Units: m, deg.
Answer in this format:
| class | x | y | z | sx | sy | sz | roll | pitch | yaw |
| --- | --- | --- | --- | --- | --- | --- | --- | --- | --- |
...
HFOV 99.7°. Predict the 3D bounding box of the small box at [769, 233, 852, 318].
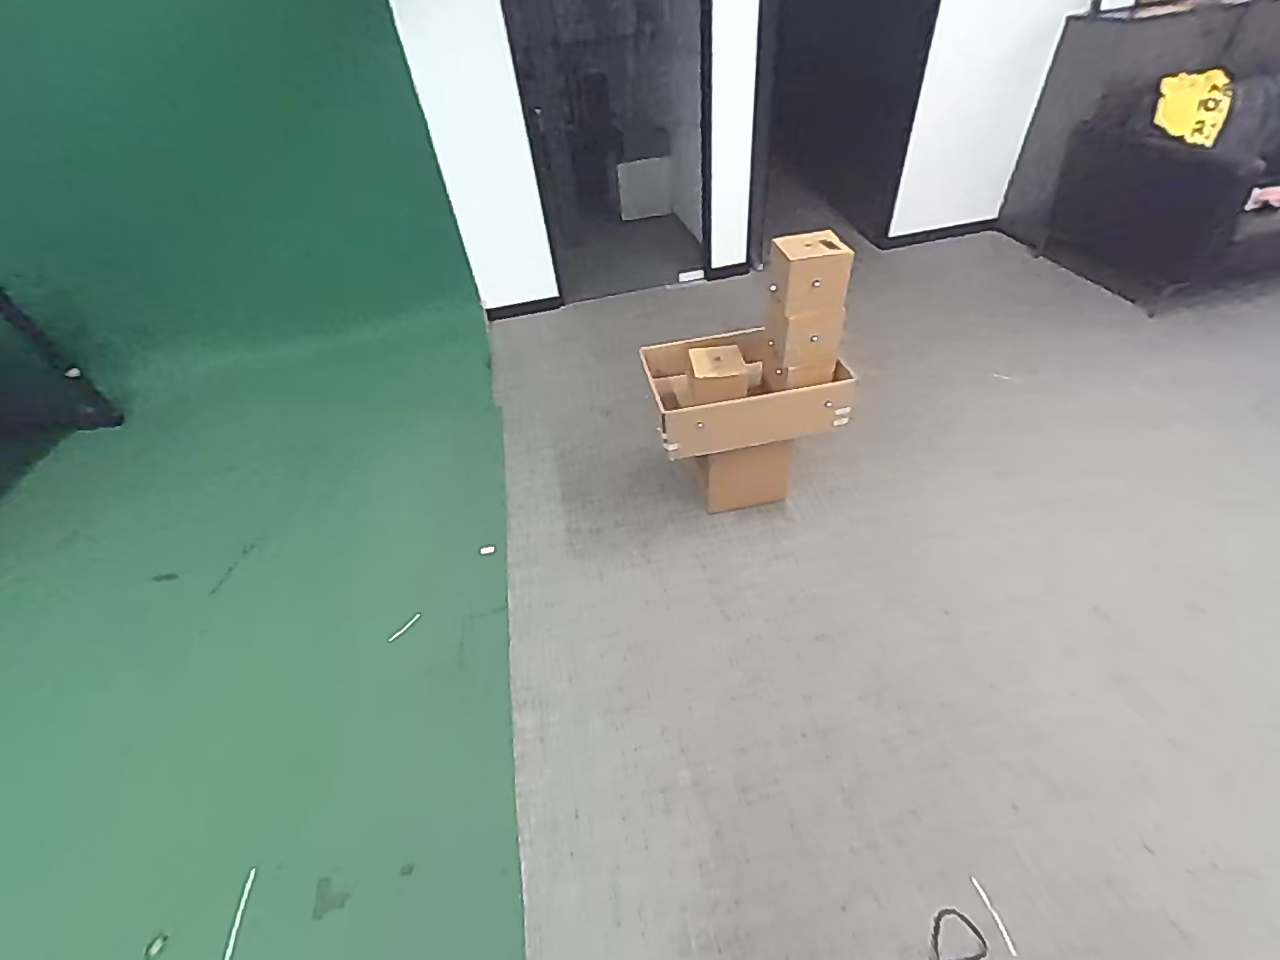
| class | x | y | z | sx | sy | sz | roll | pitch | yaw |
| --- | --- | --- | --- | --- | --- | --- | --- | --- | --- |
| small box | 0.481 | -0.585 | 1.552 | 0.179 | 0.176 | 0.168 | -9 | 44 | -1 |
